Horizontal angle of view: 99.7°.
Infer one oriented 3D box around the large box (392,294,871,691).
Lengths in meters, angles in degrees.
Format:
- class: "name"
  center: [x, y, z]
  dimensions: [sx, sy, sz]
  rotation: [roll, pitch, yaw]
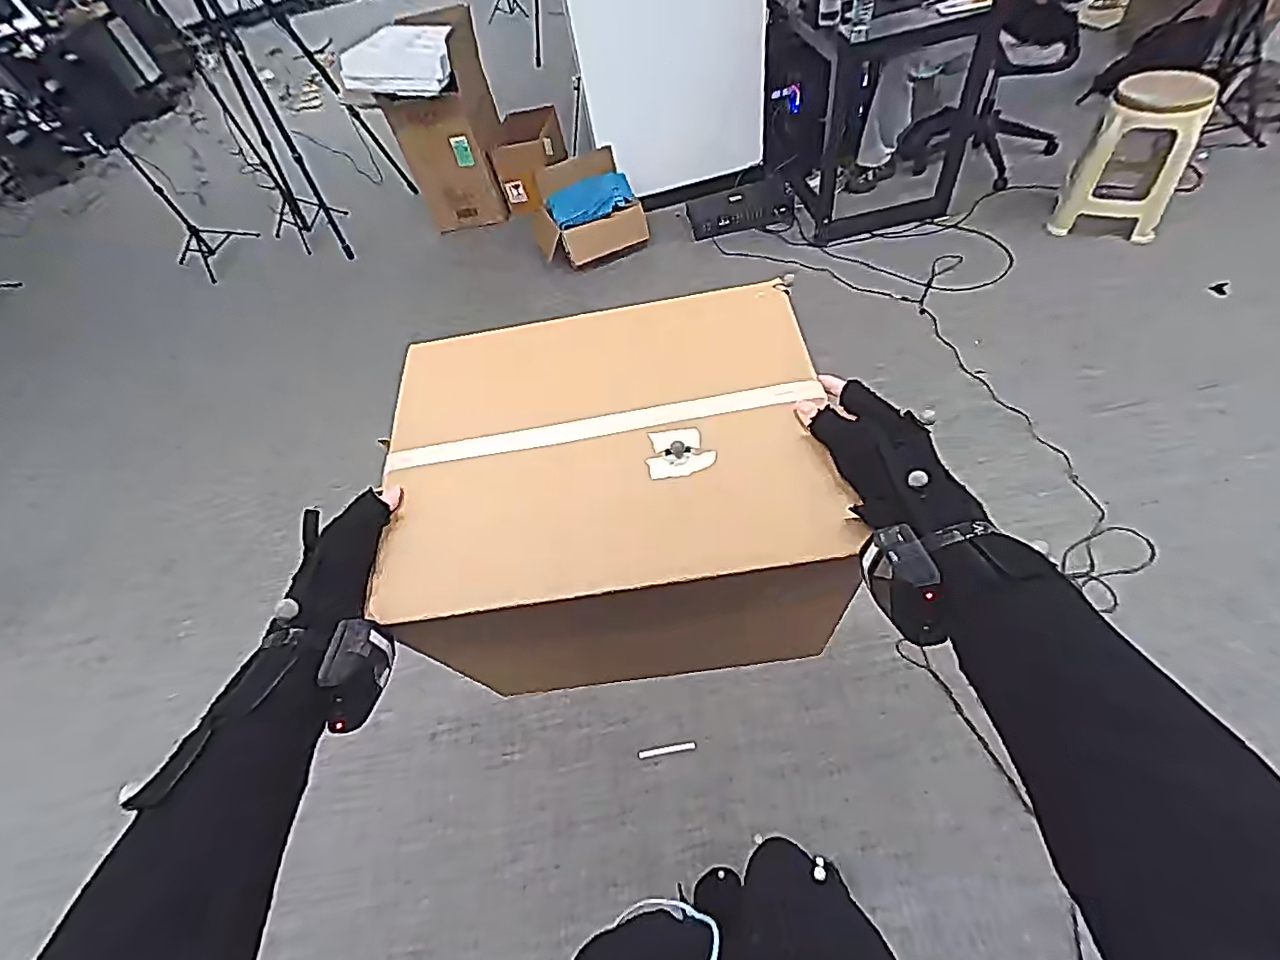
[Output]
- class: "large box"
  center: [-0.010, 0.034, 0.639]
  dimensions: [0.408, 0.320, 0.320]
  rotation: [-9, 58, 3]
